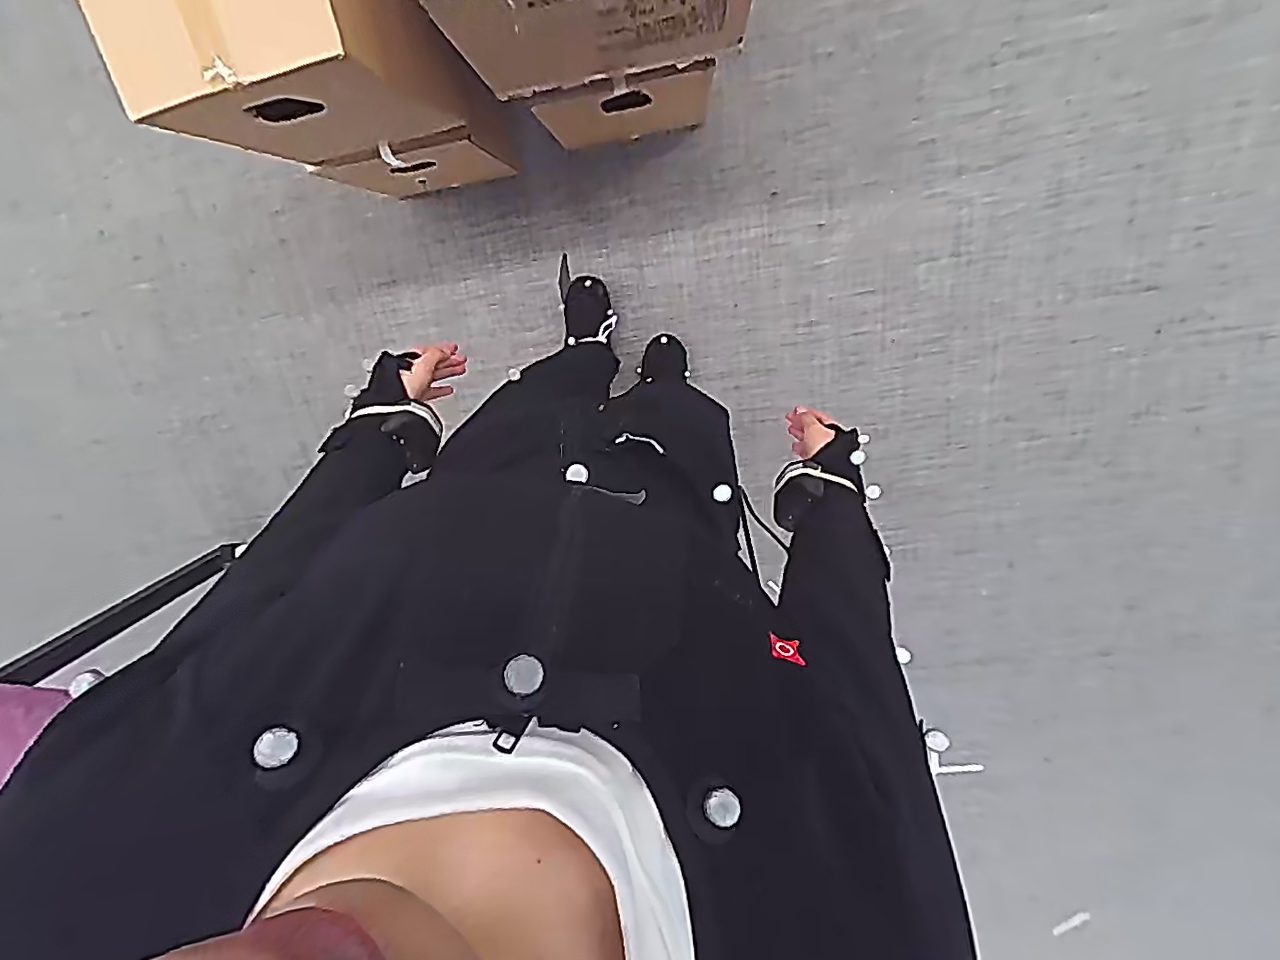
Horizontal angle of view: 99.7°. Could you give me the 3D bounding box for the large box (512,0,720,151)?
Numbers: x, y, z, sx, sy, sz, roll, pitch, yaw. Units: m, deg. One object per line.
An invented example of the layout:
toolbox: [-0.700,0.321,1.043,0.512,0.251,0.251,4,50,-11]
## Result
large box: [-0.048,-0.865,0.950,0.320,0.320,0.408,-8,109,8]
